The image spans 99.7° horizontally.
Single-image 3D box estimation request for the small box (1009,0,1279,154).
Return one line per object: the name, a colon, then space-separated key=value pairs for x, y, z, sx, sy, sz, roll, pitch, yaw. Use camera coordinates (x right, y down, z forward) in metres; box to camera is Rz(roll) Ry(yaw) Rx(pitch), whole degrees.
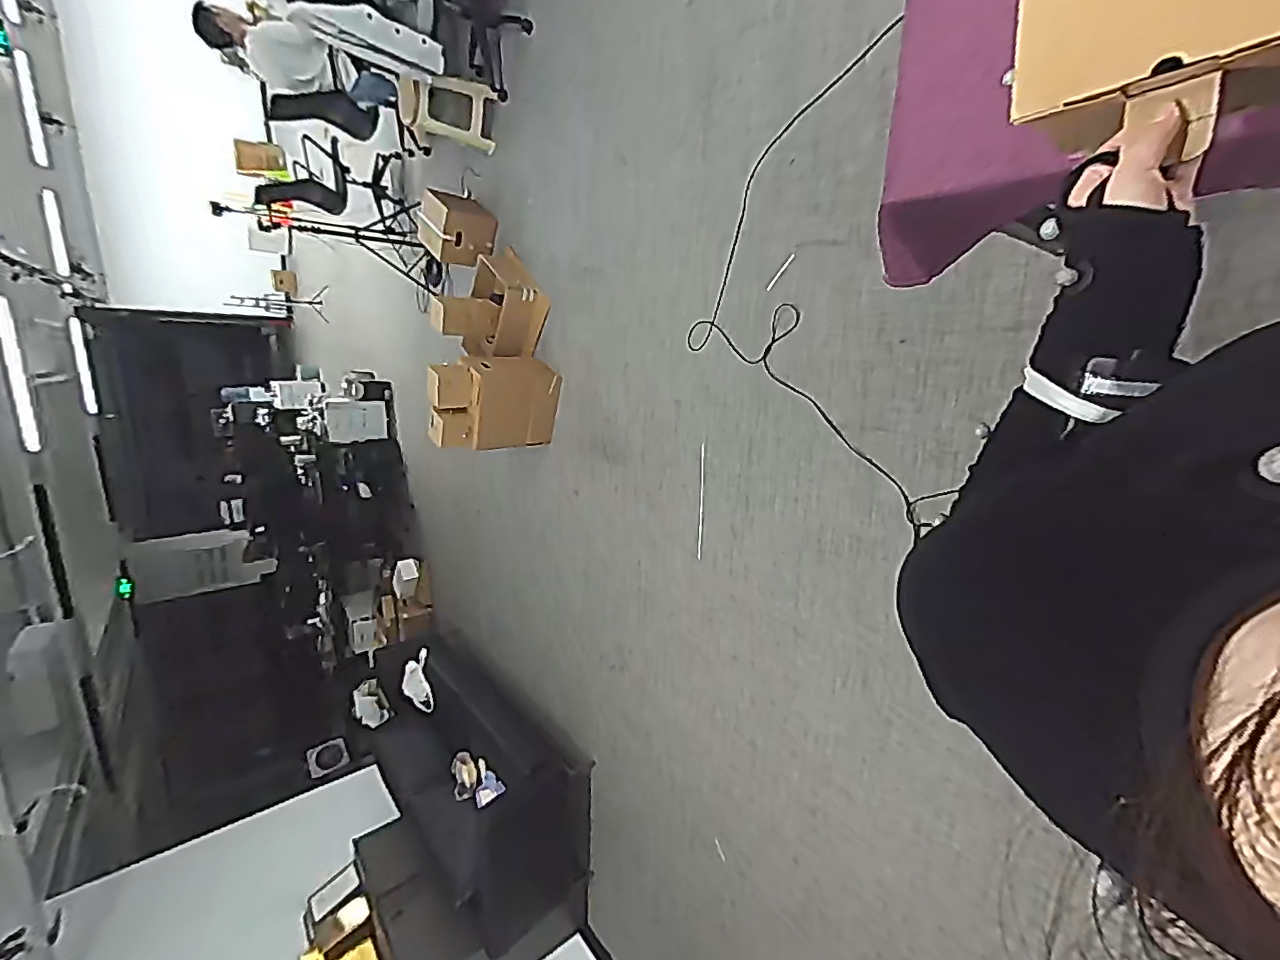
small box: x=0.385 y=-0.359 z=0.380 sx=0.168 sy=0.176 sz=0.179 roll=11 pitch=112 yaw=47
